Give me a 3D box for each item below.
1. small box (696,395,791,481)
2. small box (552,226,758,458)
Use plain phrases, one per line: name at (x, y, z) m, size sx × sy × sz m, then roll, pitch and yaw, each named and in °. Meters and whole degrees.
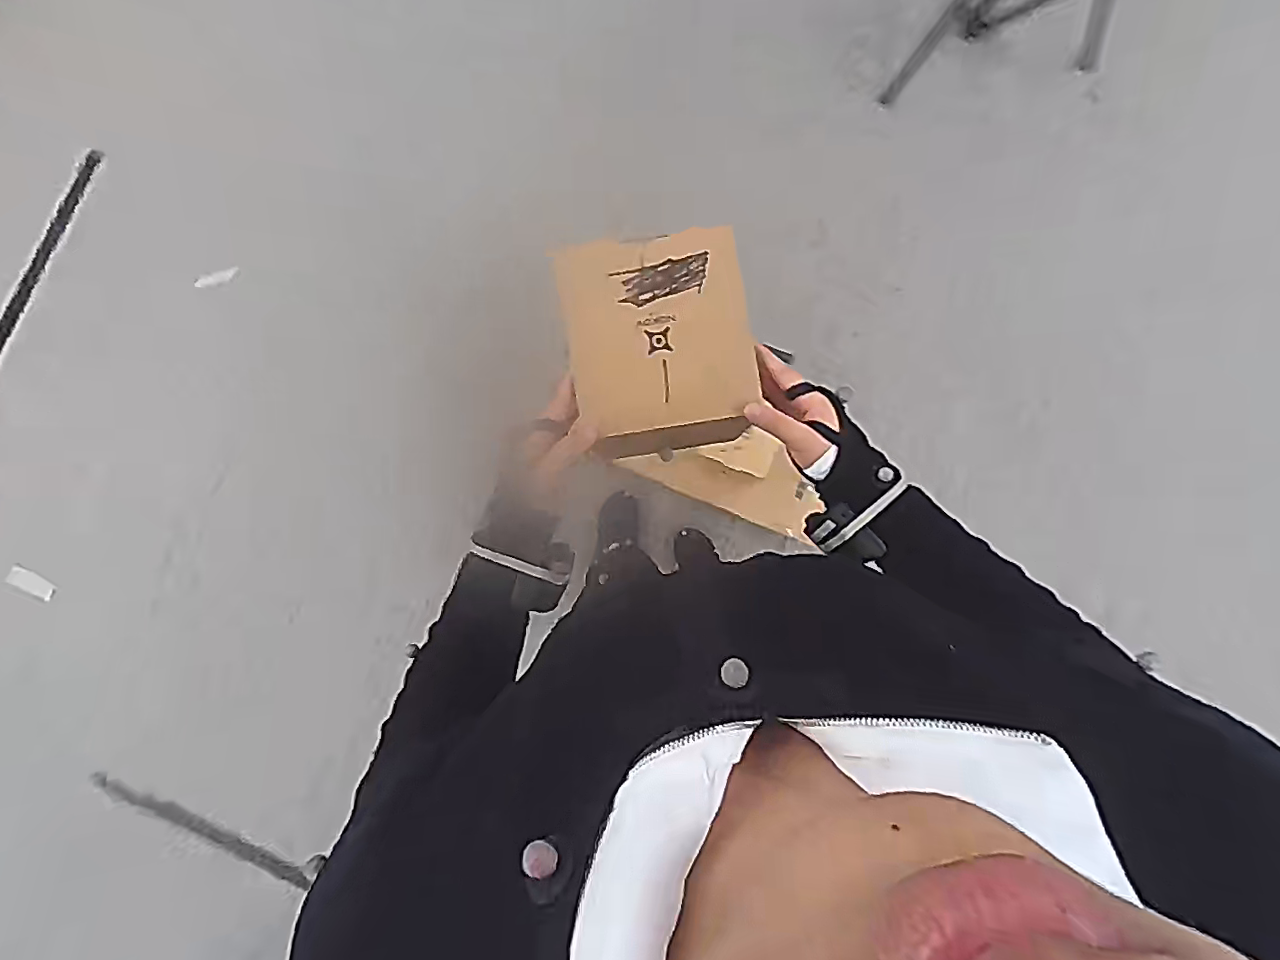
small box at (0.244, -0.111, 1.327) m, size 0.168 × 0.176 × 0.179 m, roll 23°, pitch 87°, yaw 3°
small box at (0.013, -0.128, 0.566) m, size 0.168 × 0.176 × 0.179 m, roll -10°, pitch 86°, yaw 1°
